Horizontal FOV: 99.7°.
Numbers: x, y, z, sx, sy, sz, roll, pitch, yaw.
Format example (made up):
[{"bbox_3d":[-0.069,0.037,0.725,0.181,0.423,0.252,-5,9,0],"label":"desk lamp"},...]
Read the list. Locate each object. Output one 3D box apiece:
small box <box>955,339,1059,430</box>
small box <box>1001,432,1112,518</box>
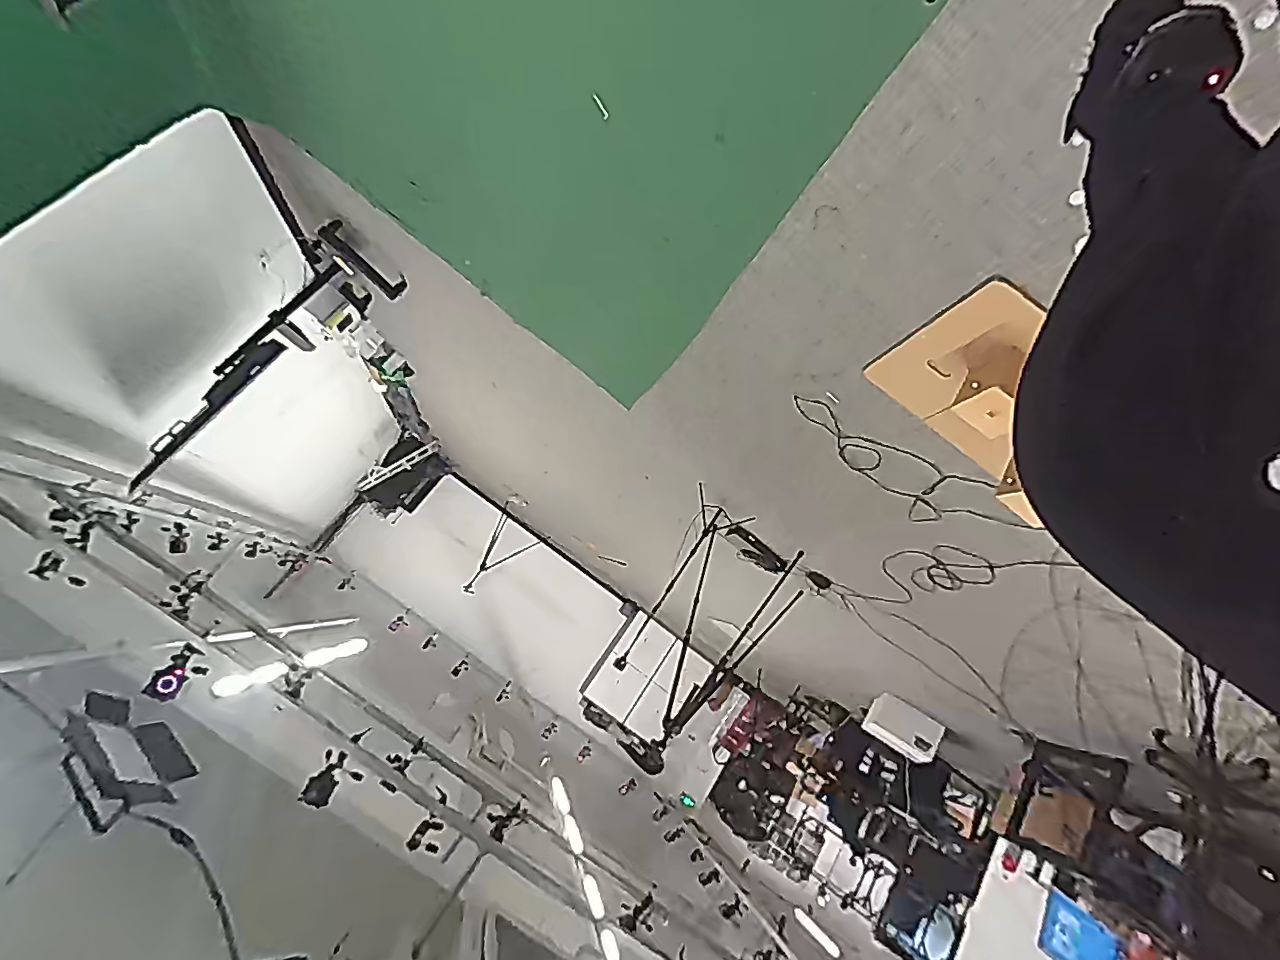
[{"bbox_3d":[1.100,-0.285,1.620,0.168,0.176,0.179,36,161,-1],"label":"small box"},{"bbox_3d":[1.209,-0.012,1.570,0.168,0.176,0.179,36,161,-6],"label":"small box"}]
